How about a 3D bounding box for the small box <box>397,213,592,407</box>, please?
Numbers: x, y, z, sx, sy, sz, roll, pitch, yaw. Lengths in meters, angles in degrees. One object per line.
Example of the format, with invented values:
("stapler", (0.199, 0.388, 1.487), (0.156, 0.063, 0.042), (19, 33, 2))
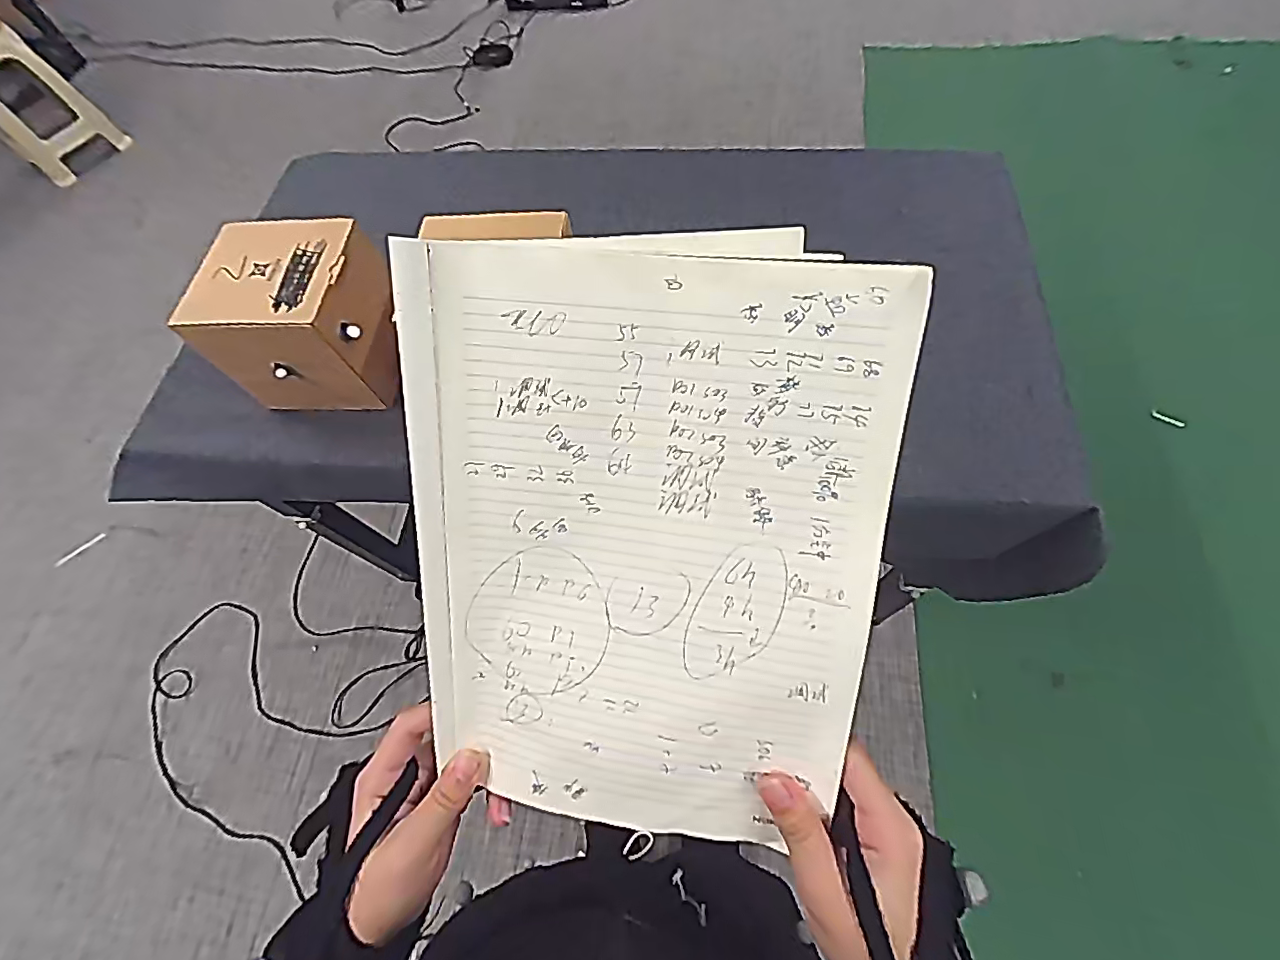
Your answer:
("small box", (-0.164, -0.203, 0.676), (0.179, 0.176, 0.168), (0, 64, 5))
